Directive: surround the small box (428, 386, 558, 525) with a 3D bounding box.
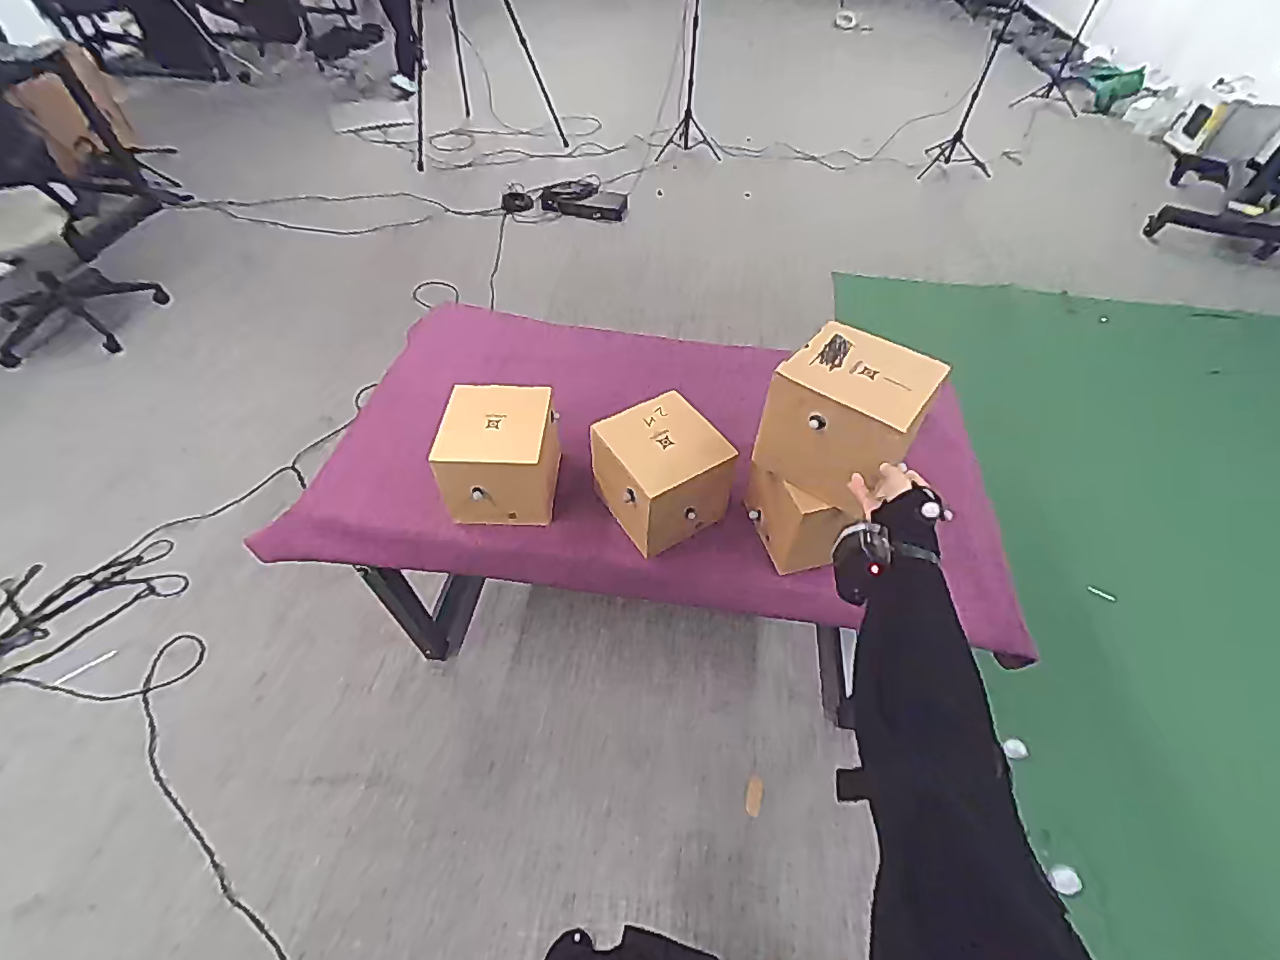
[{"bbox_3d":[-0.234,-0.038,0.916,0.168,0.176,0.179,1,49,-1],"label":"small box"}]

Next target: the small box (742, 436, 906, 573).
[{"bbox_3d":[0.284,0.028,0.879,0.179,0.176,0.168,-11,50,-10],"label":"small box"}]

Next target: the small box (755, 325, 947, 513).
[{"bbox_3d":[0.284,-0.085,0.761,0.179,0.176,0.168,32,55,24],"label":"small box"}]

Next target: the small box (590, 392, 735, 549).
[{"bbox_3d":[0.032,-0.009,0.899,0.168,0.176,0.179,-25,56,-22],"label":"small box"}]
